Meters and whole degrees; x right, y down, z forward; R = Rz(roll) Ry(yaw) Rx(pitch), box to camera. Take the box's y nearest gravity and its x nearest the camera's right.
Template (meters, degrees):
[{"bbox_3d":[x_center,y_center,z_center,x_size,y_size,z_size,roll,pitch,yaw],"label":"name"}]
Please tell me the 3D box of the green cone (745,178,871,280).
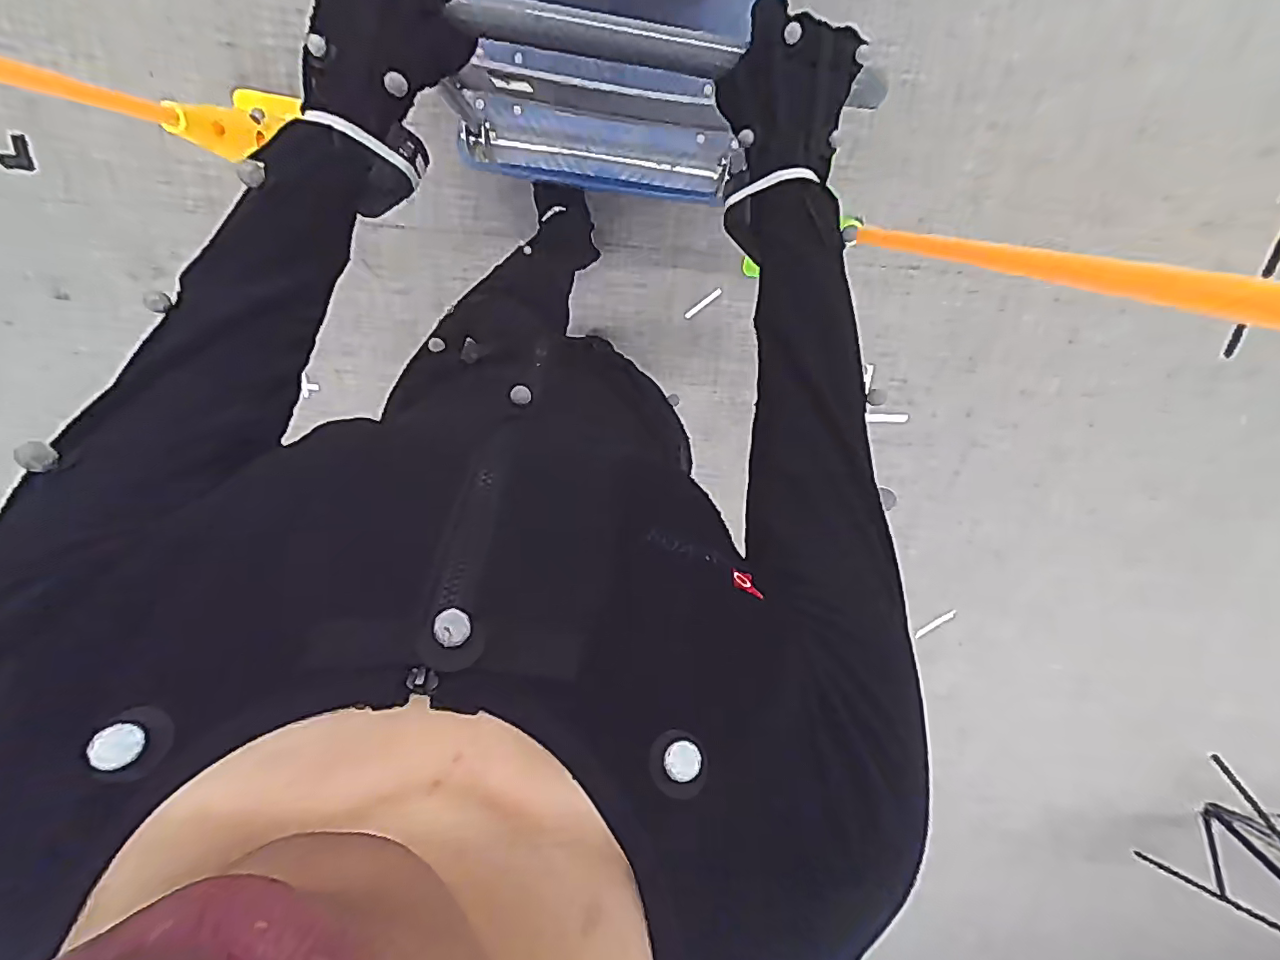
[{"bbox_3d":[0.375,-0.522,1.128,0.202,0.368,0.200,6,114,-8],"label":"green cone"}]
